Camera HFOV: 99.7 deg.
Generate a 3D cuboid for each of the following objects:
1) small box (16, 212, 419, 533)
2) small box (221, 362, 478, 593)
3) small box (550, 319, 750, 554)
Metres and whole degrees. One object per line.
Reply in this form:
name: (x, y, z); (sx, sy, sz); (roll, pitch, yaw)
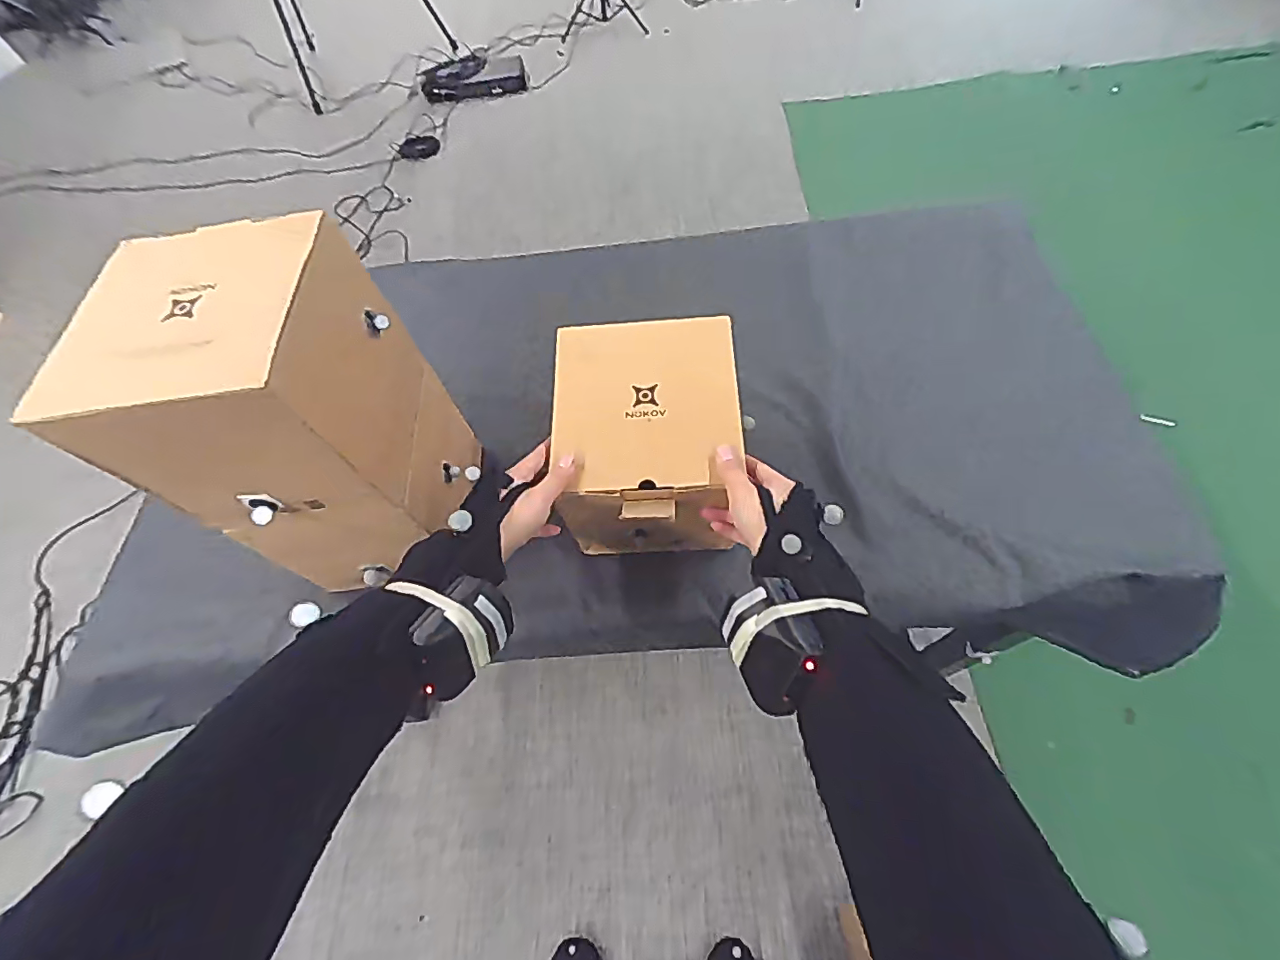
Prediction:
small box: (-0.297, -0.077, 0.434); (0.168, 0.176, 0.179); (-8, 60, 3)
small box: (-0.281, 0.004, 0.574); (0.168, 0.176, 0.179); (-7, 60, 2)
small box: (0.012, -0.035, 0.543); (0.168, 0.176, 0.179); (-3, 66, 4)
